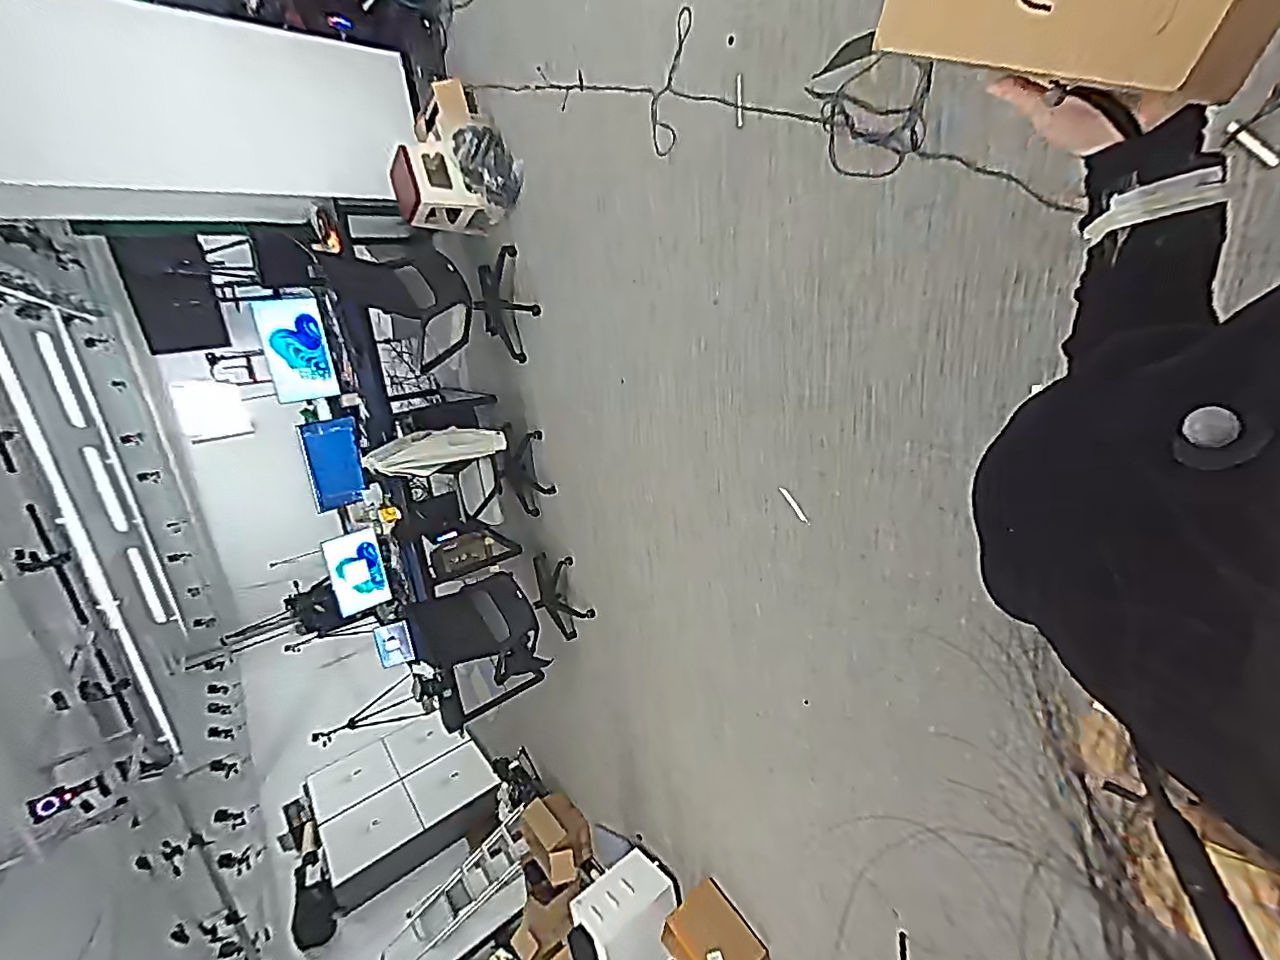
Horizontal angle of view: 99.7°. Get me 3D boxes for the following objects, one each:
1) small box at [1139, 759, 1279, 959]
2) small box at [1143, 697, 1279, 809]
[{"bbox_3d":[0.863,0.554,0.791,0.168,0.176,0.179,7,112,53],"label":"small box"},{"bbox_3d":[0.984,0.495,0.884,0.179,0.176,0.168,28,126,45],"label":"small box"}]
